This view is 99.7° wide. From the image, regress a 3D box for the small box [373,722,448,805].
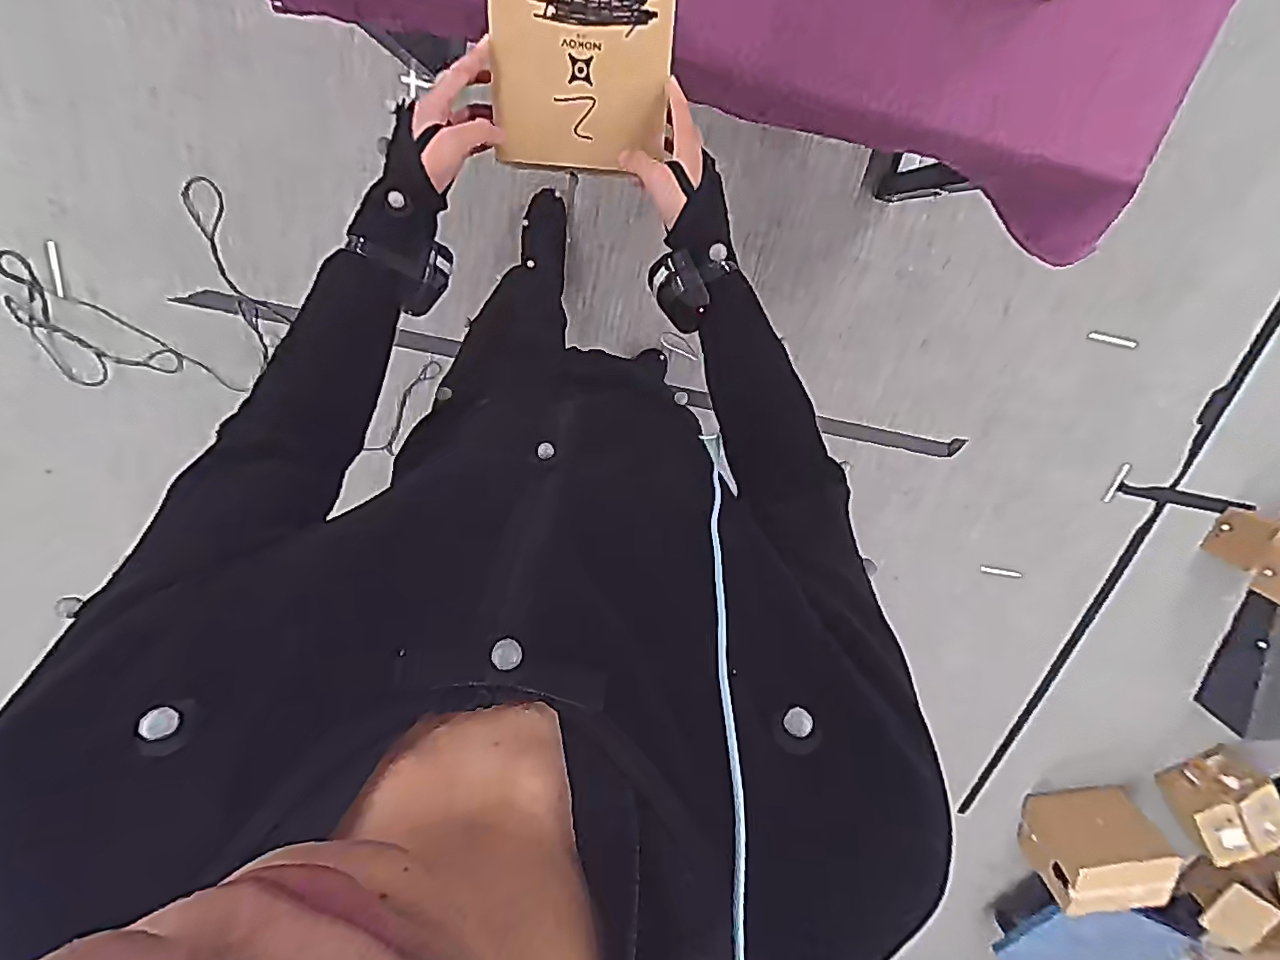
[{"bbox_3d":[-0.758,0.933,1.792,0.179,0.176,0.168,12,111,-7],"label":"small box"}]
